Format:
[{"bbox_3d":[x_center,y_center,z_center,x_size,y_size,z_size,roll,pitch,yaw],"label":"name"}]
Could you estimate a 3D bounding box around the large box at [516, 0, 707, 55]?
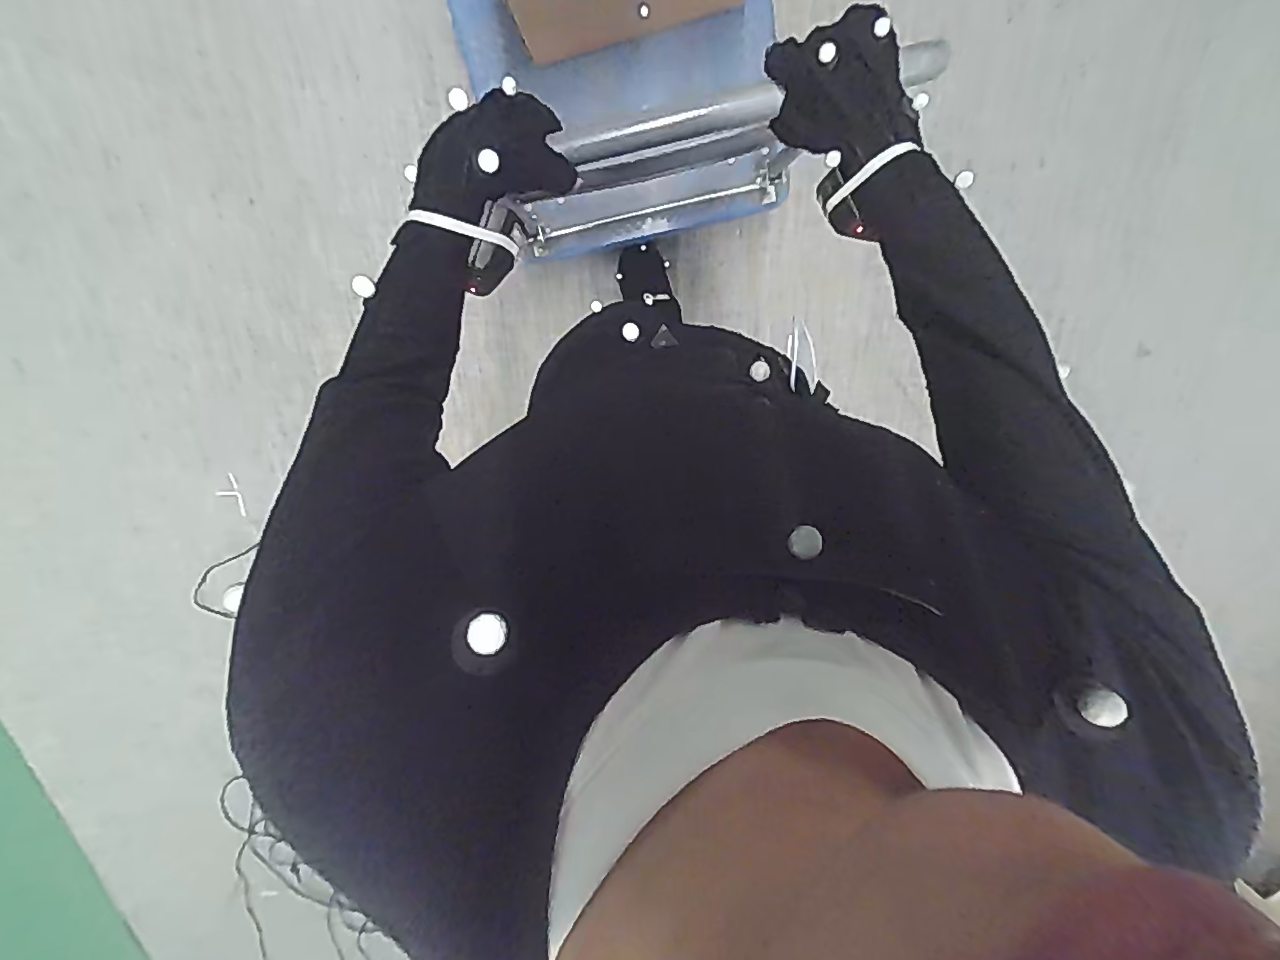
[{"bbox_3d":[-0.031,-0.924,0.811,0.408,0.320,0.320,-14,112,5],"label":"large box"}]
